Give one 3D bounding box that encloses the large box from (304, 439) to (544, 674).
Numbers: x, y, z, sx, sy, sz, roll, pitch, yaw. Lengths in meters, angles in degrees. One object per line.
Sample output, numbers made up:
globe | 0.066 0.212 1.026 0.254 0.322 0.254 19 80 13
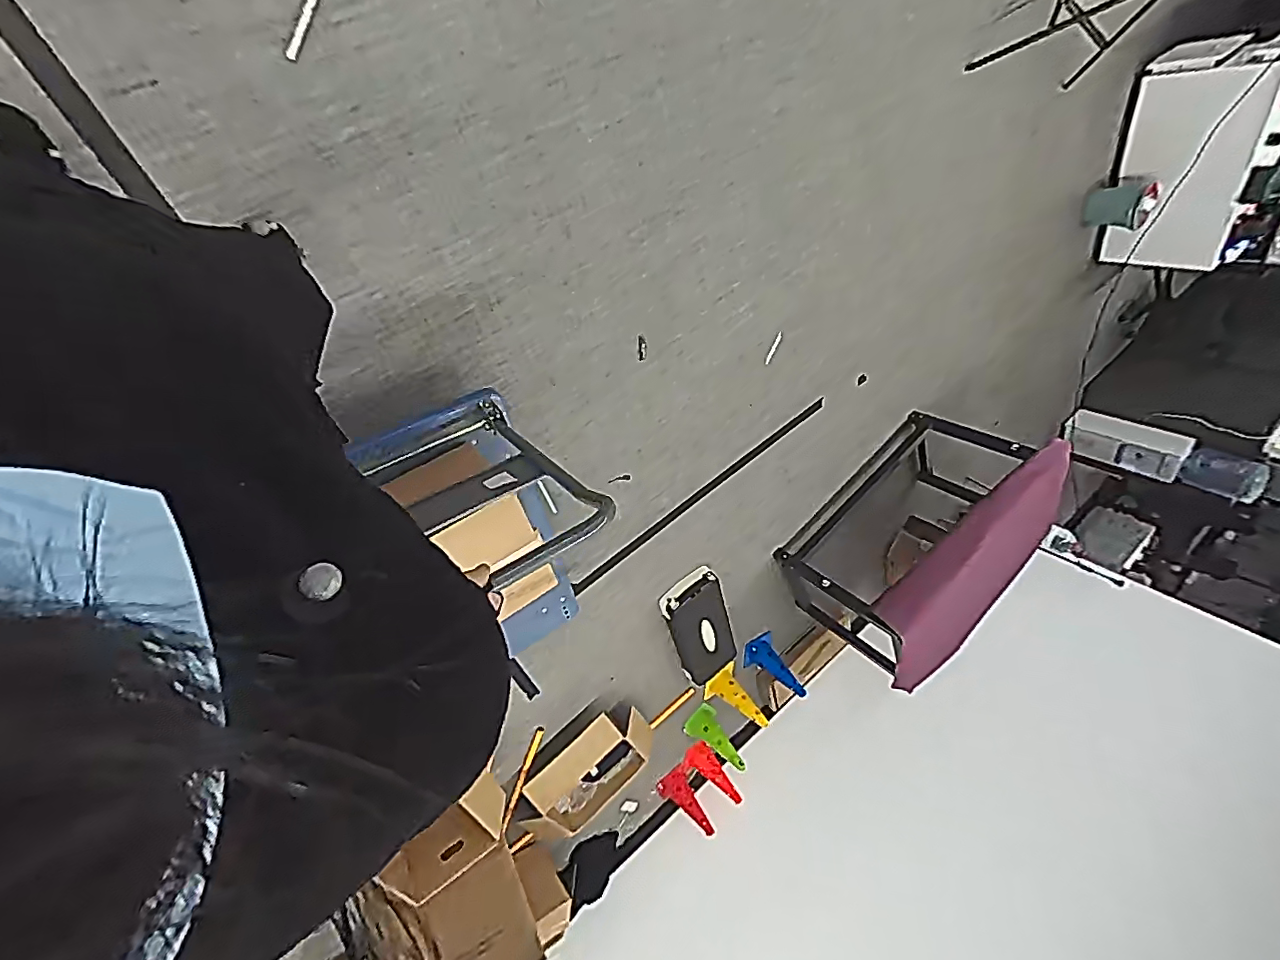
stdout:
large box | -0.510 0.163 1.300 0.408 0.320 0.320 -31 129 -20
